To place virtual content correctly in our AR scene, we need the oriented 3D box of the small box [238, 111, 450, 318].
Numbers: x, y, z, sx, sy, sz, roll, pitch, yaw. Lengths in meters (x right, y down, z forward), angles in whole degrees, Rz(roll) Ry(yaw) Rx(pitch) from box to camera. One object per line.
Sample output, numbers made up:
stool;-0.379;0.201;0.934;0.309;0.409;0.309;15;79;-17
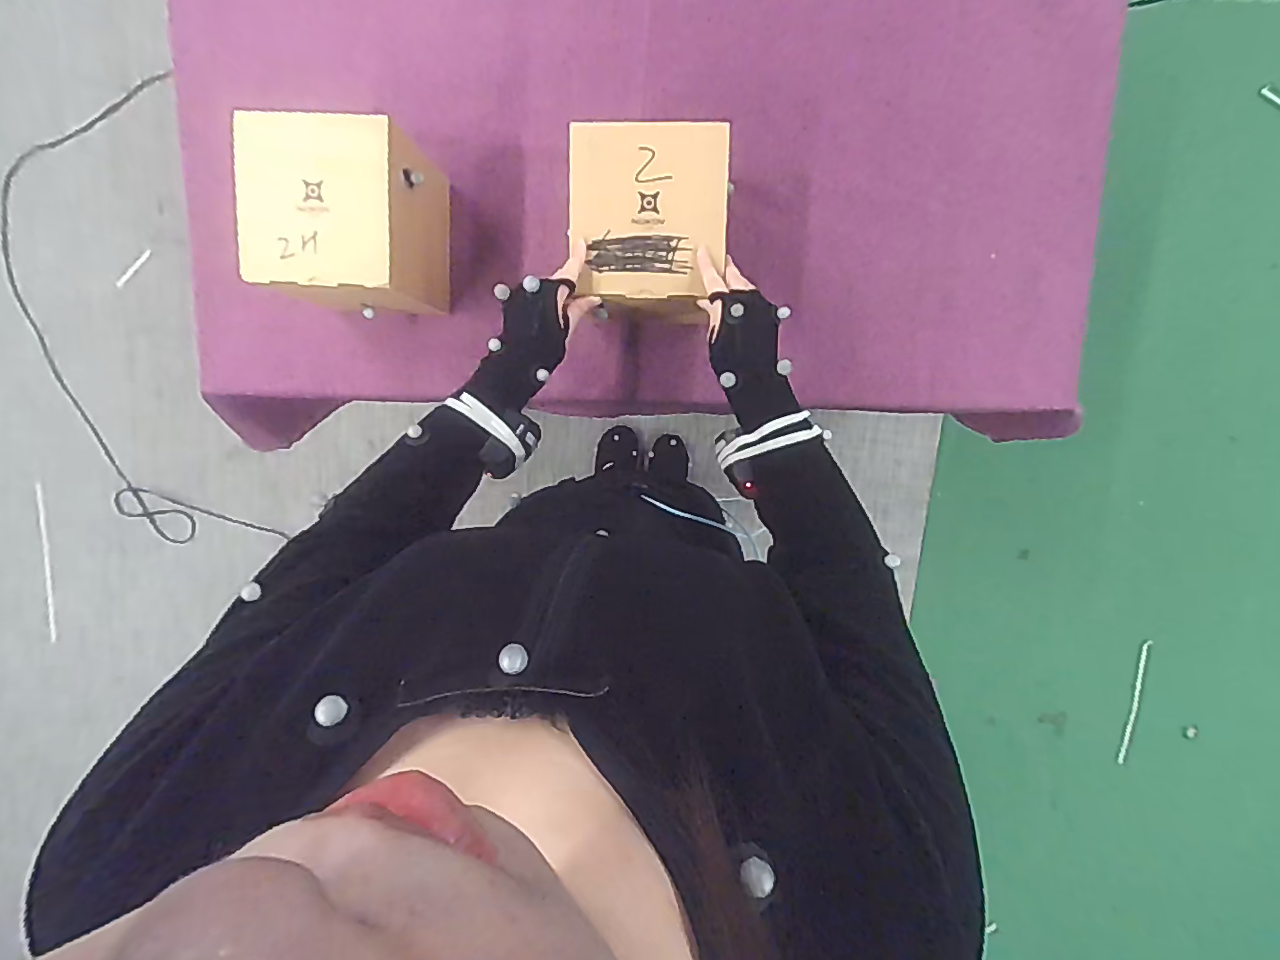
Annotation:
small box;-0.340;-0.303;0.651;0.168;0.176;0.179;3;97;2
